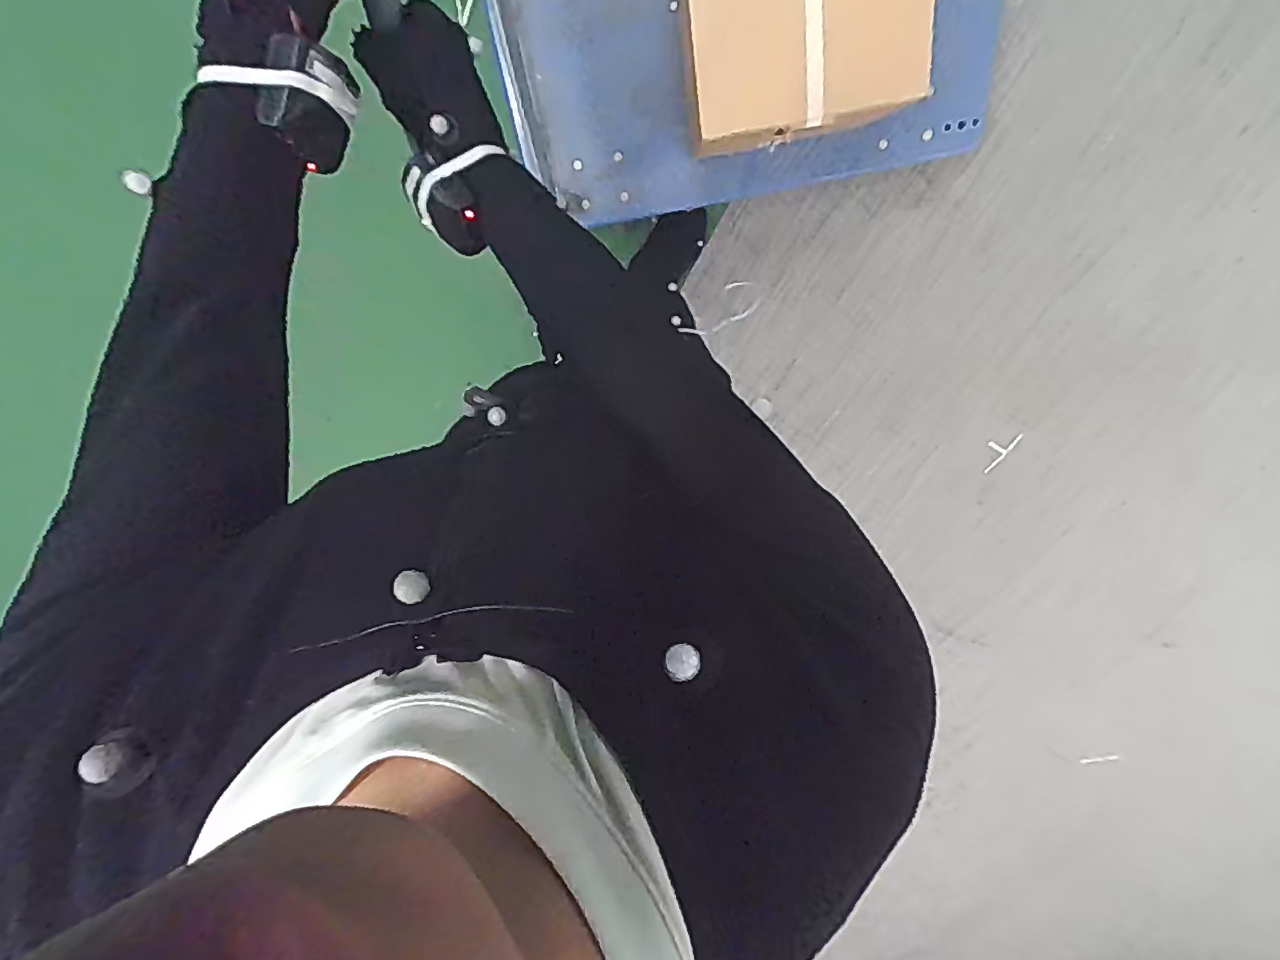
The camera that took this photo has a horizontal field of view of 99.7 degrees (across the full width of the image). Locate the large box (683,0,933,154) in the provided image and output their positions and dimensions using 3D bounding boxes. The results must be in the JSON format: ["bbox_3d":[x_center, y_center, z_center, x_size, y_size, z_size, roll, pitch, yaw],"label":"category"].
[{"bbox_3d":[0.220,-0.760,0.807,0.320,0.320,0.408,-7,115,6],"label":"large box"}]
